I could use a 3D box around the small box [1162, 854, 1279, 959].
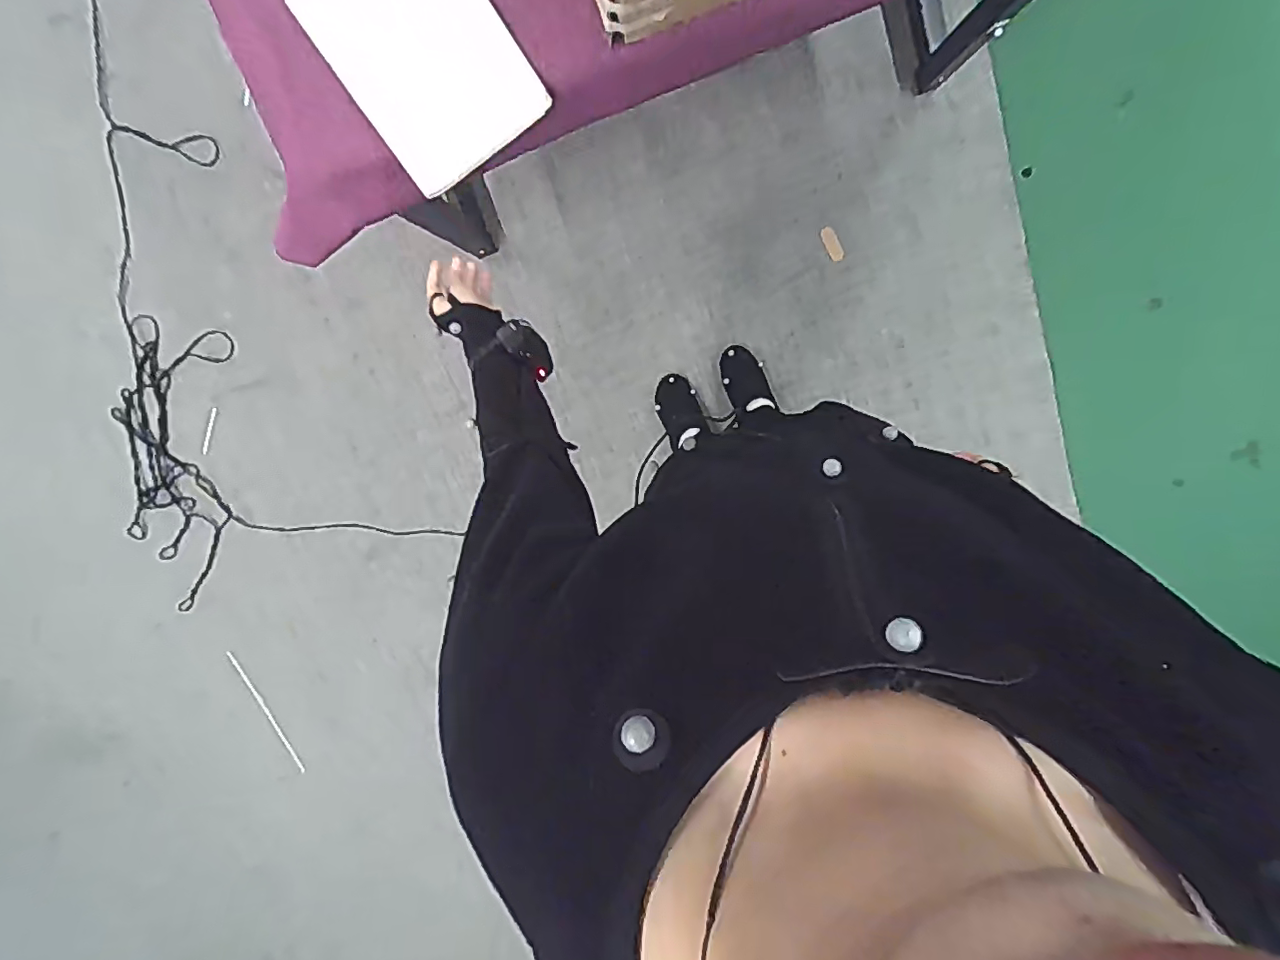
[{"bbox_3d":[1.268,0.934,1.130,0.179,0.176,0.168,-27,101,8],"label":"small box"}]

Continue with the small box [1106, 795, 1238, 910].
[{"bbox_3d":[1.271,0.891,1.286,0.168,0.176,0.179,-28,100,8],"label":"small box"}]
